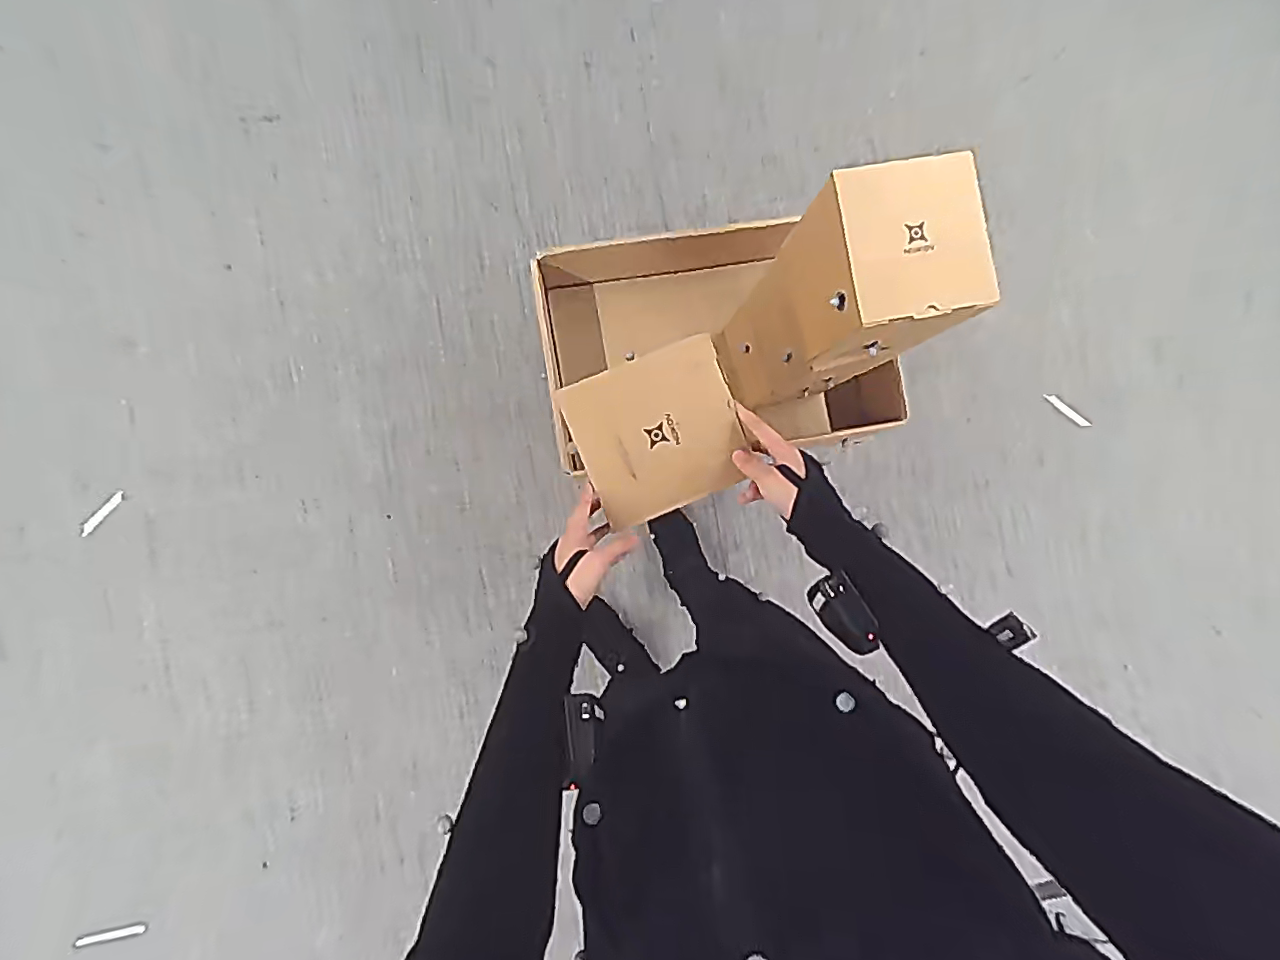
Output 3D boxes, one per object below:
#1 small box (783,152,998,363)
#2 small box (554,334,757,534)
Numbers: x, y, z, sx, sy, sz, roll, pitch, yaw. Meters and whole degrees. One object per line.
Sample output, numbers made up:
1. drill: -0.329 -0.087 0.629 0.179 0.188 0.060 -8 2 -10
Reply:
1. small box: 0.292 -0.261 0.668 0.168 0.176 0.179 -11 89 -5
2. small box: 0.011 -0.057 0.646 0.179 0.176 0.168 -23 98 -2
